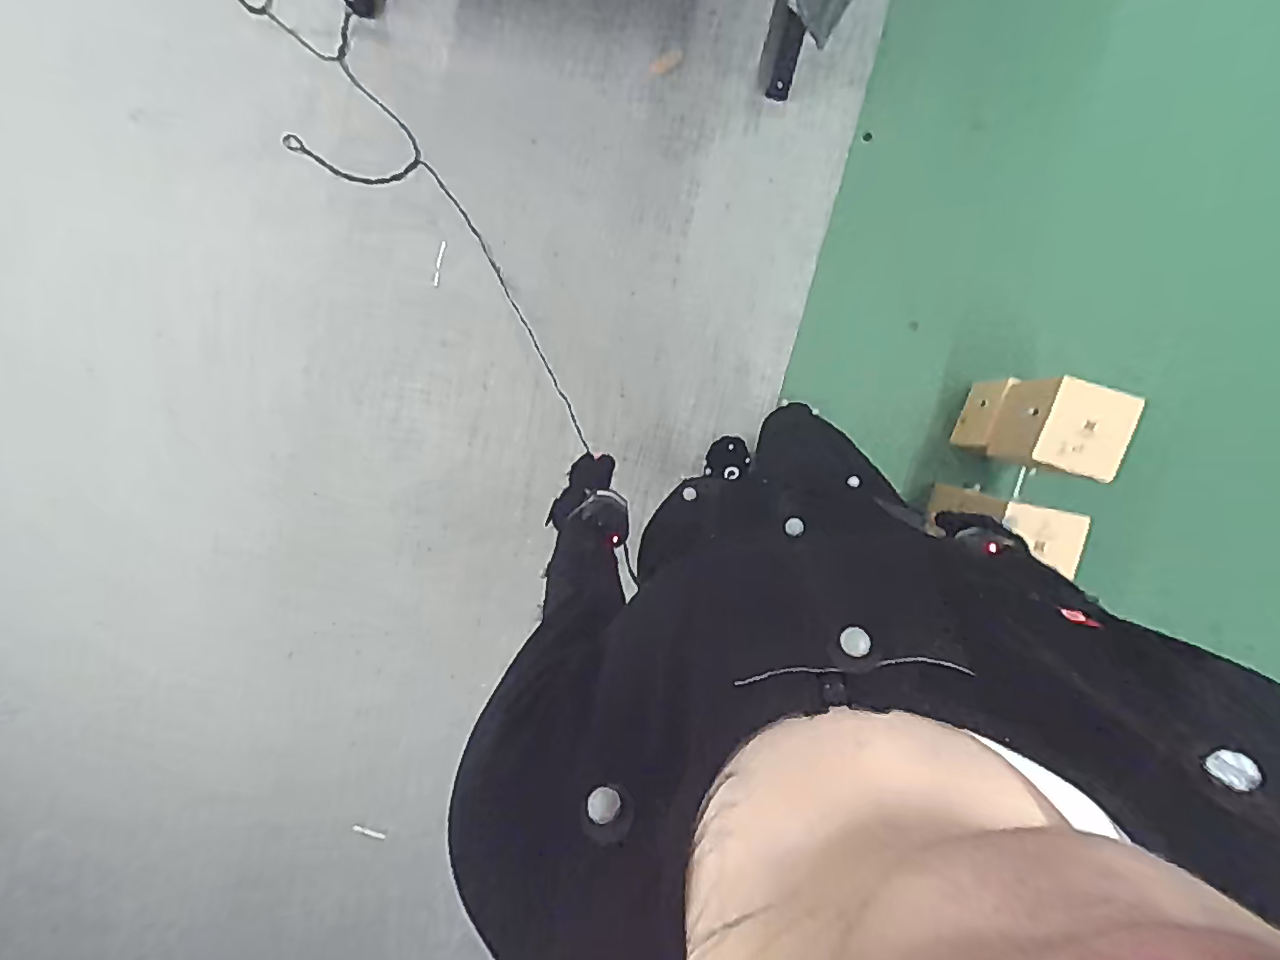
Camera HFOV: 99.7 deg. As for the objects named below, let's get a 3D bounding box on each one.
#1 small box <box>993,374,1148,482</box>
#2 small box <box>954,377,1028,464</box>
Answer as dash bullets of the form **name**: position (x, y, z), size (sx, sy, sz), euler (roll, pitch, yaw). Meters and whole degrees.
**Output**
- **small box**: position (0.895, -0.109, 1.145), size (0.168, 0.176, 0.179), euler (19, 97, 3)
- **small box**: position (0.903, -0.136, 1.308), size (0.179, 0.176, 0.168), euler (20, 97, 3)
